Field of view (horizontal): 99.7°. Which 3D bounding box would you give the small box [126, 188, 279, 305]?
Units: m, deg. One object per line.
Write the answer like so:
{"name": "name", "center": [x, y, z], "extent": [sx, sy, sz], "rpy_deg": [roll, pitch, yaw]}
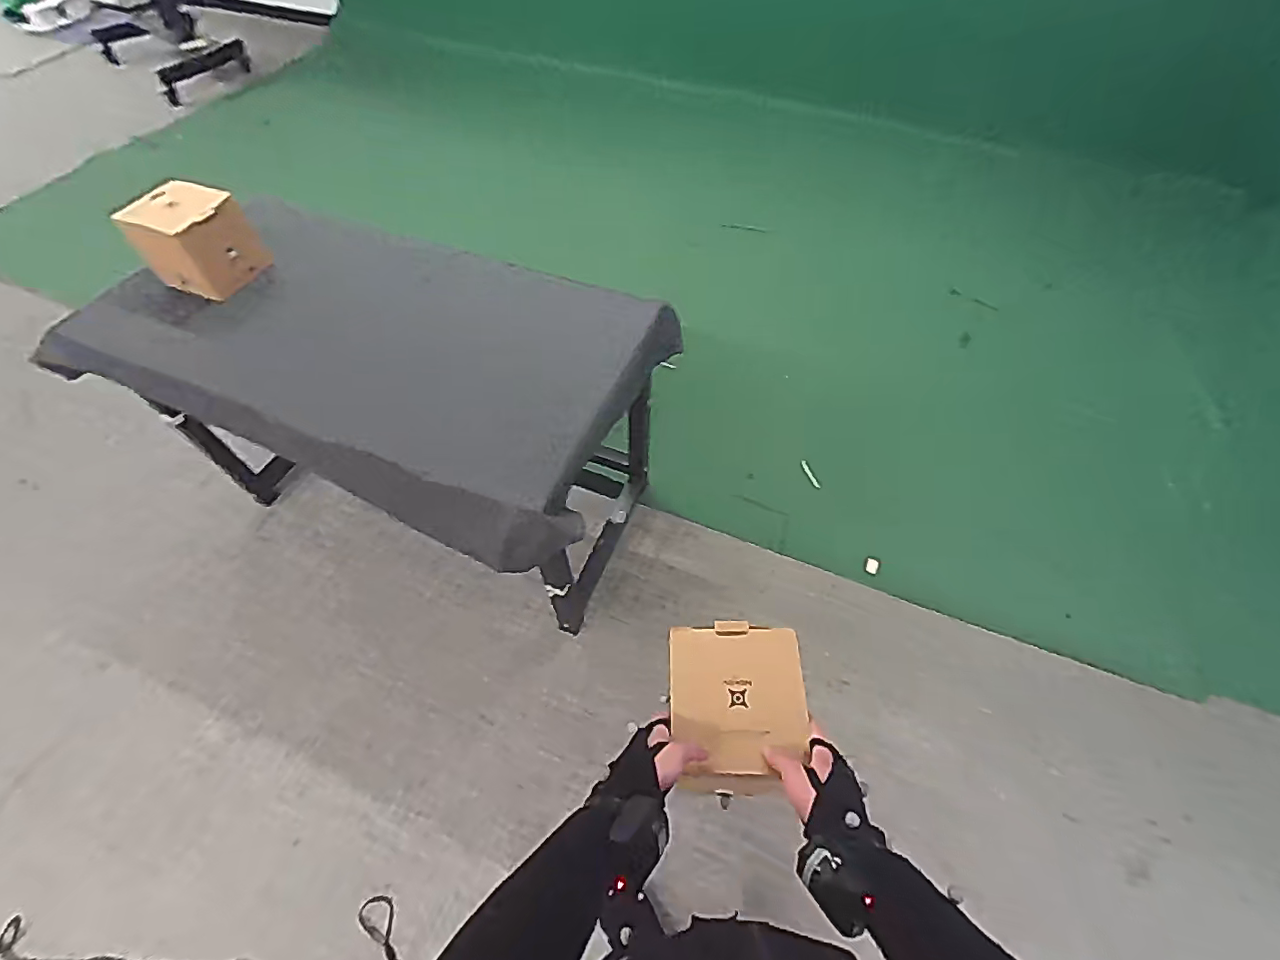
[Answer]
{"name": "small box", "center": [-0.987, -0.530, 1.241], "extent": [0.179, 0.176, 0.168], "rpy_deg": [19, 58, 11]}

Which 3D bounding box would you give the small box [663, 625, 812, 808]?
{"name": "small box", "center": [0.116, 0.308, 0.704], "extent": [0.168, 0.176, 0.179], "rpy_deg": [1, 51, 6]}
